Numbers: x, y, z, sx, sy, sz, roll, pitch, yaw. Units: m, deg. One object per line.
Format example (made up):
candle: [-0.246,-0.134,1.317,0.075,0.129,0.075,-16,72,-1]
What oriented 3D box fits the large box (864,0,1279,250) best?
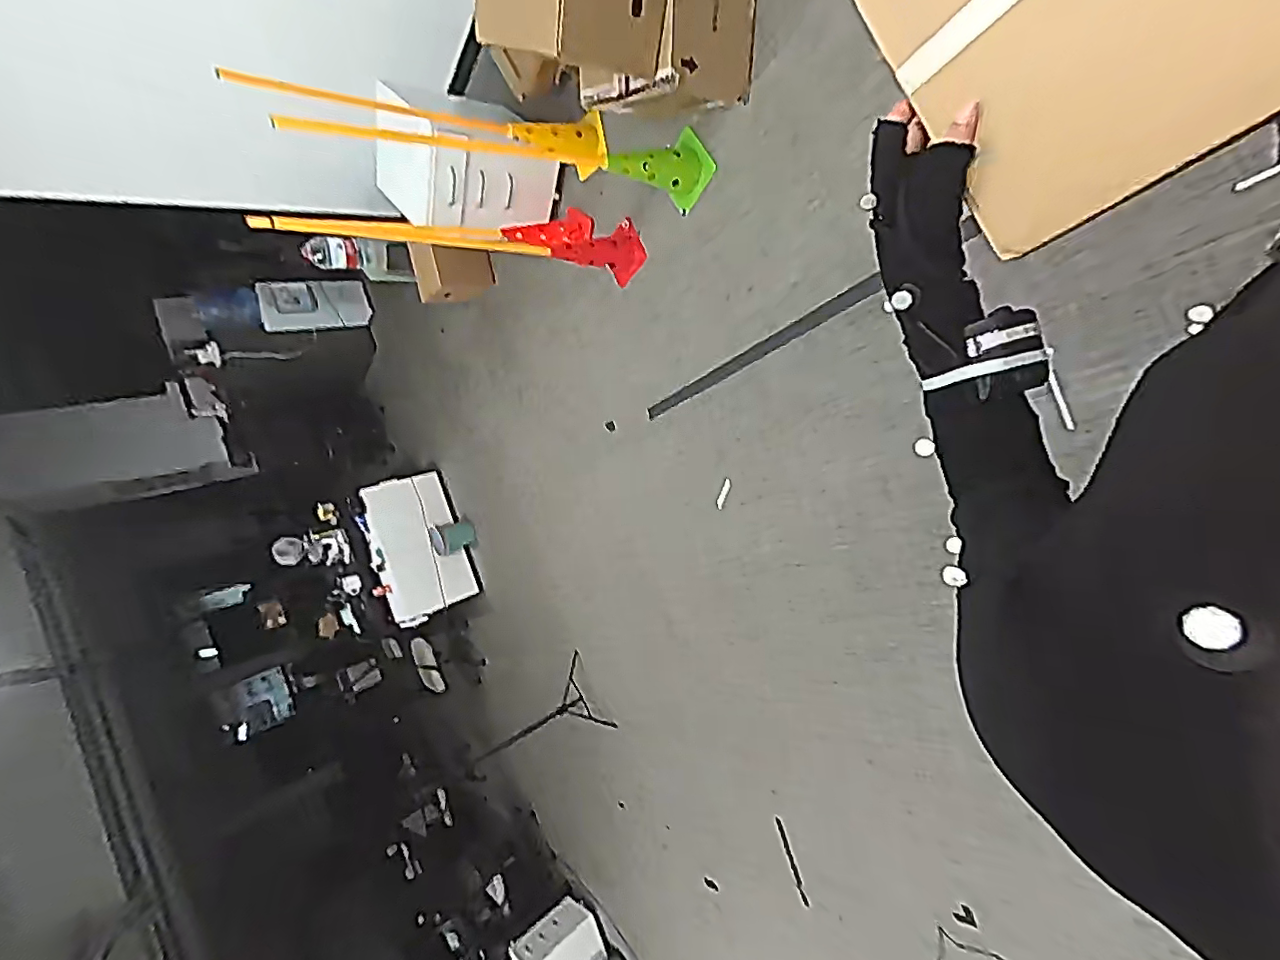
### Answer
large box: [0.419,-0.420,0.366,0.408,0.320,0.320,-29,91,47]
